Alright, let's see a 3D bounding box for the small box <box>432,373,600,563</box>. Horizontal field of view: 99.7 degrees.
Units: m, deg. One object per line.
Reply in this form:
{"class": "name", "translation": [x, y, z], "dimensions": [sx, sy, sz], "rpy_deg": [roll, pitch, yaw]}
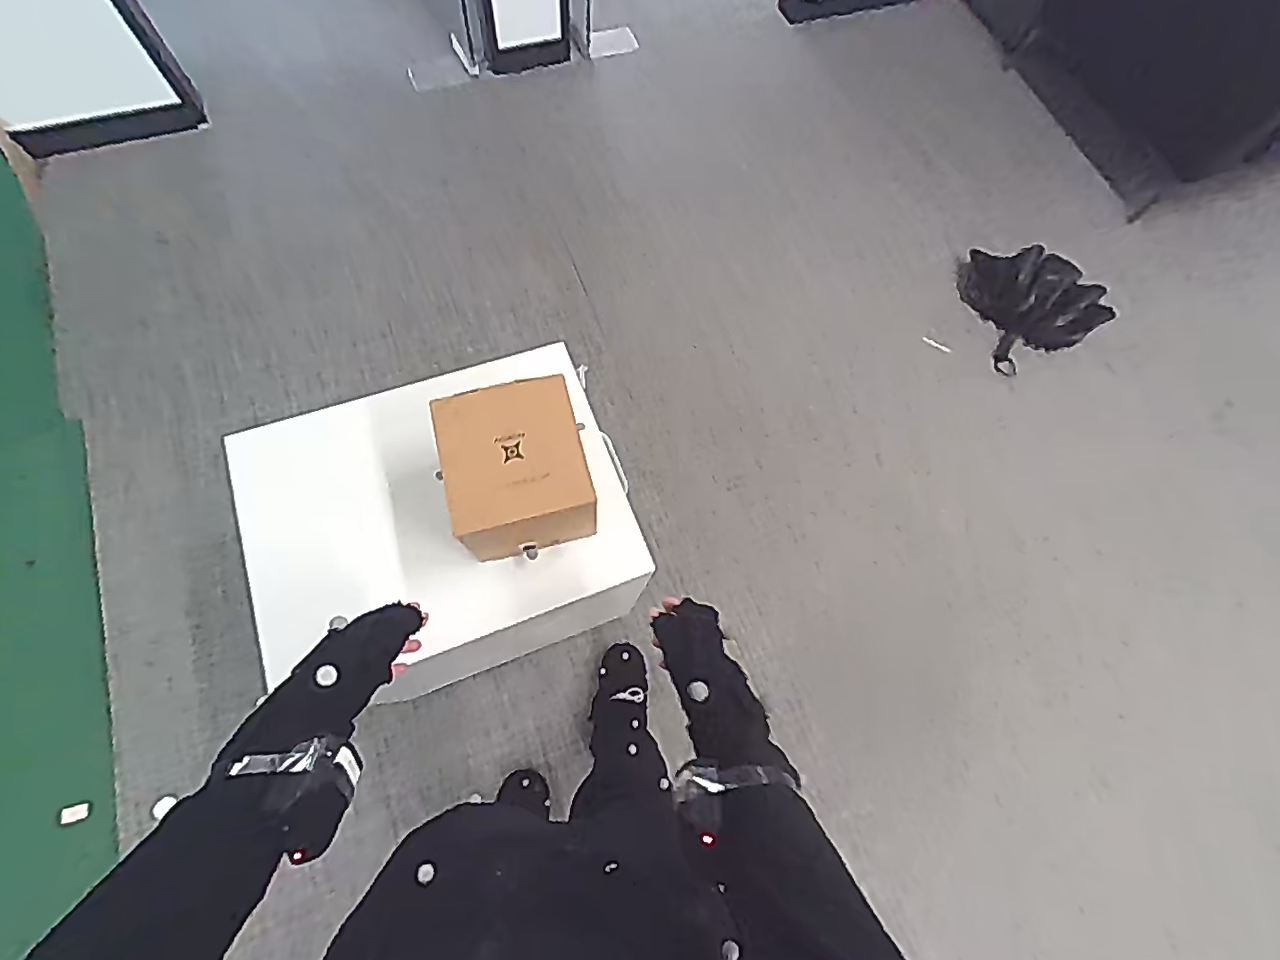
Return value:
{"class": "small box", "translation": [-0.154, -0.008, 0.701], "dimensions": [0.168, 0.176, 0.179], "rpy_deg": [-14, 72, -9]}
